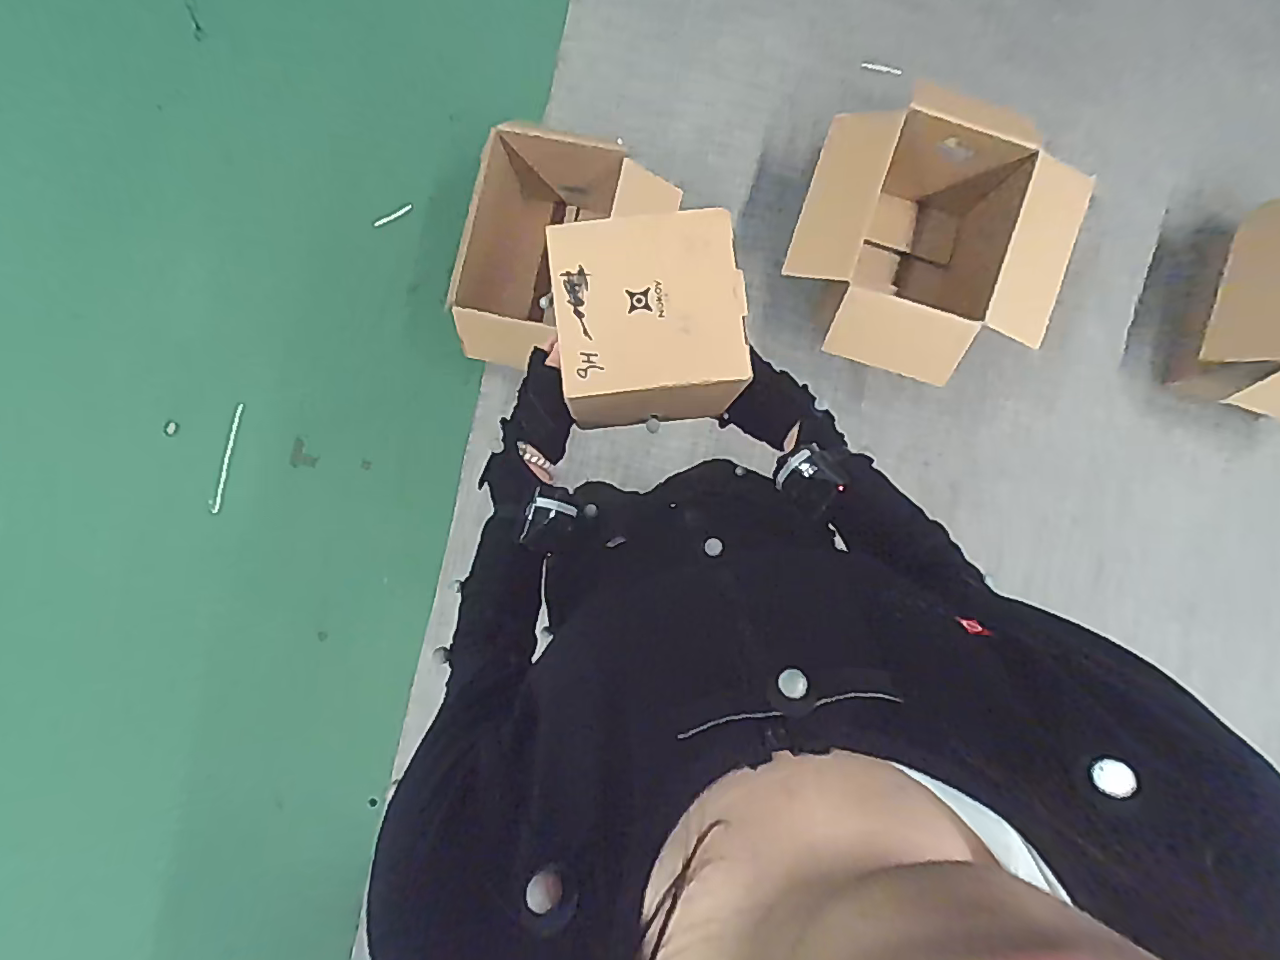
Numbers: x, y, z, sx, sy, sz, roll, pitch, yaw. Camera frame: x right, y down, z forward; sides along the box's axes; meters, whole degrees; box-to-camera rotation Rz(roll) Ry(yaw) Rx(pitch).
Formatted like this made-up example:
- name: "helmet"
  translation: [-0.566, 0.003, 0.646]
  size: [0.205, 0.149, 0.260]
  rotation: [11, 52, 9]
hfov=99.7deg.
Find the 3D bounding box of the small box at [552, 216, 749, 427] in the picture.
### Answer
- name: "small box"
  translation: [0.005, -0.157, 0.581]
  size: [0.179, 0.176, 0.168]
  rotation: [-5, 84, -3]
